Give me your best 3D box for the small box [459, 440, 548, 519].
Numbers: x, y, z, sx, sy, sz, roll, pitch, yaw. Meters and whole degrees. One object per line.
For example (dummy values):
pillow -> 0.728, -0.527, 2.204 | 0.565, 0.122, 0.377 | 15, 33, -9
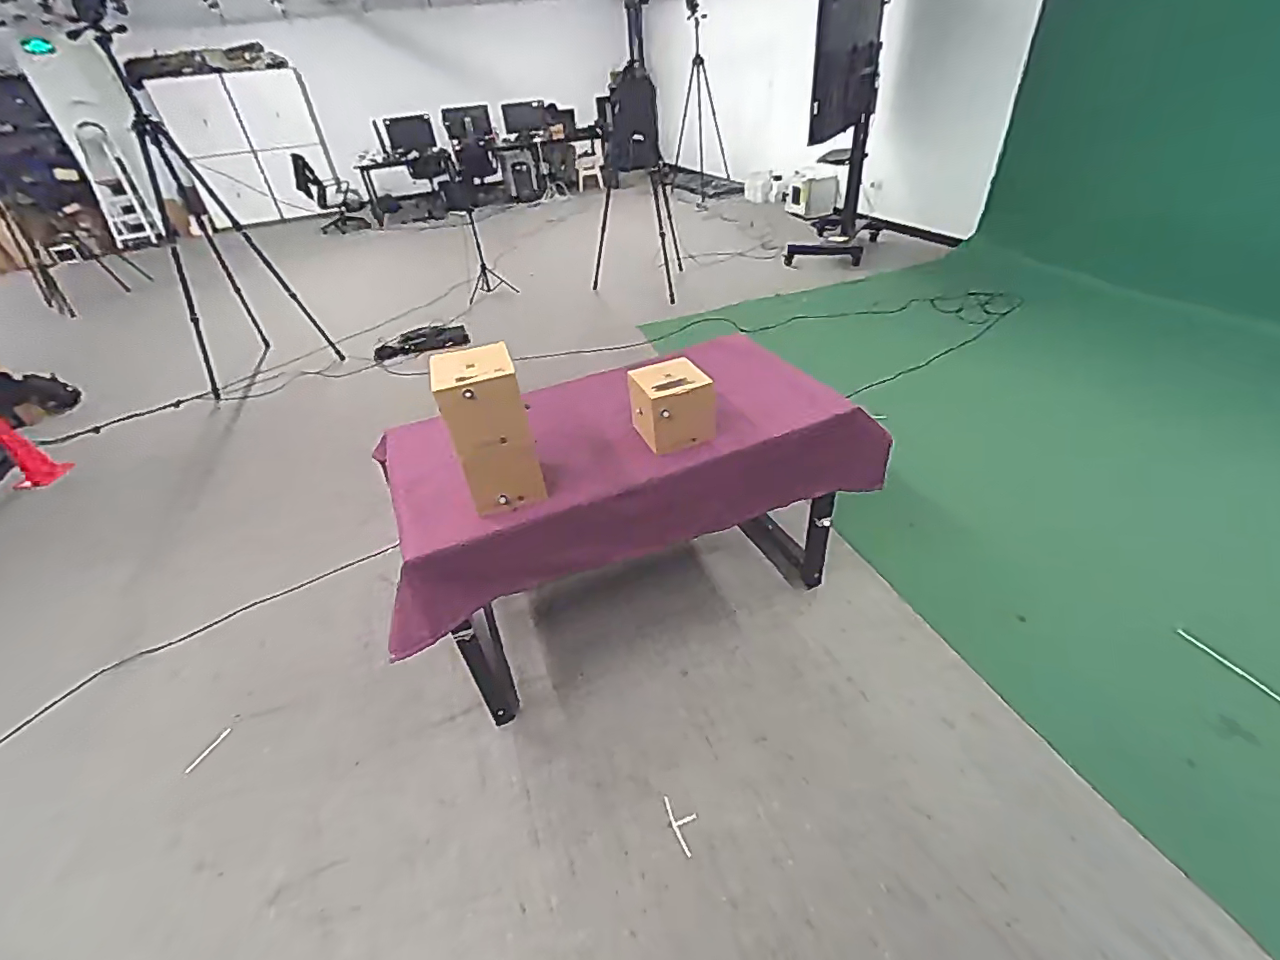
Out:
small box -> -0.325, -0.037, 1.276 | 0.168, 0.176, 0.179 | -16, 39, -11

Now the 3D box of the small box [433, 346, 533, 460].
small box -> -0.341, -0.168, 1.176 | 0.168, 0.176, 0.179 | -17, 37, -11
